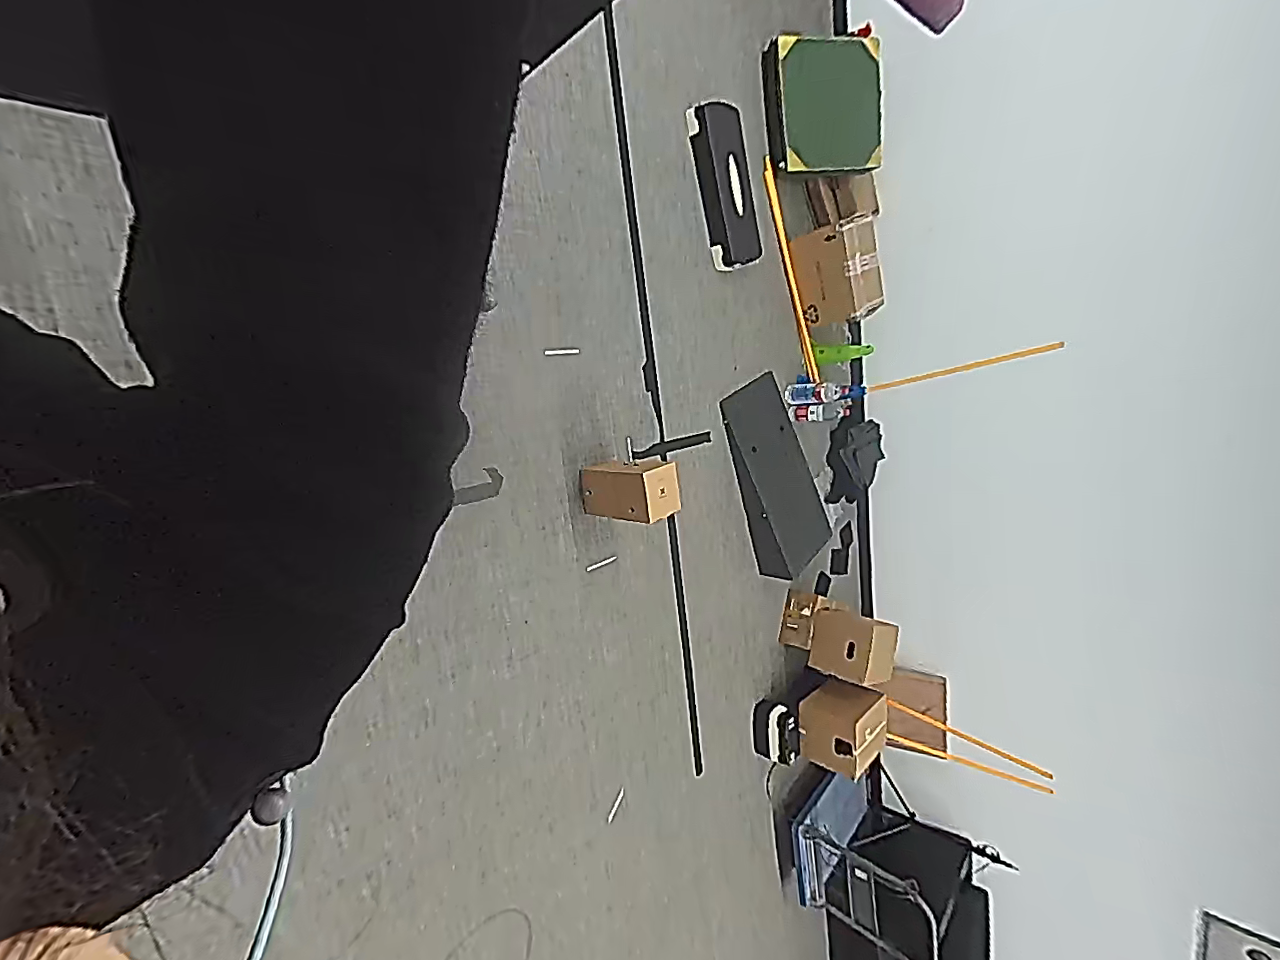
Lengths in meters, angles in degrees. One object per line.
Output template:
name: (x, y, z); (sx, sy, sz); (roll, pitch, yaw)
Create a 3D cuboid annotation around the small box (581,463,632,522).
small box: (-0.095, 0.040, 1.975); (0.168, 0.176, 0.179); (-17, 106, -44)

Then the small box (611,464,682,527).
small box: (0.019, 0.048, 1.858); (0.168, 0.176, 0.179); (-20, 106, -43)
